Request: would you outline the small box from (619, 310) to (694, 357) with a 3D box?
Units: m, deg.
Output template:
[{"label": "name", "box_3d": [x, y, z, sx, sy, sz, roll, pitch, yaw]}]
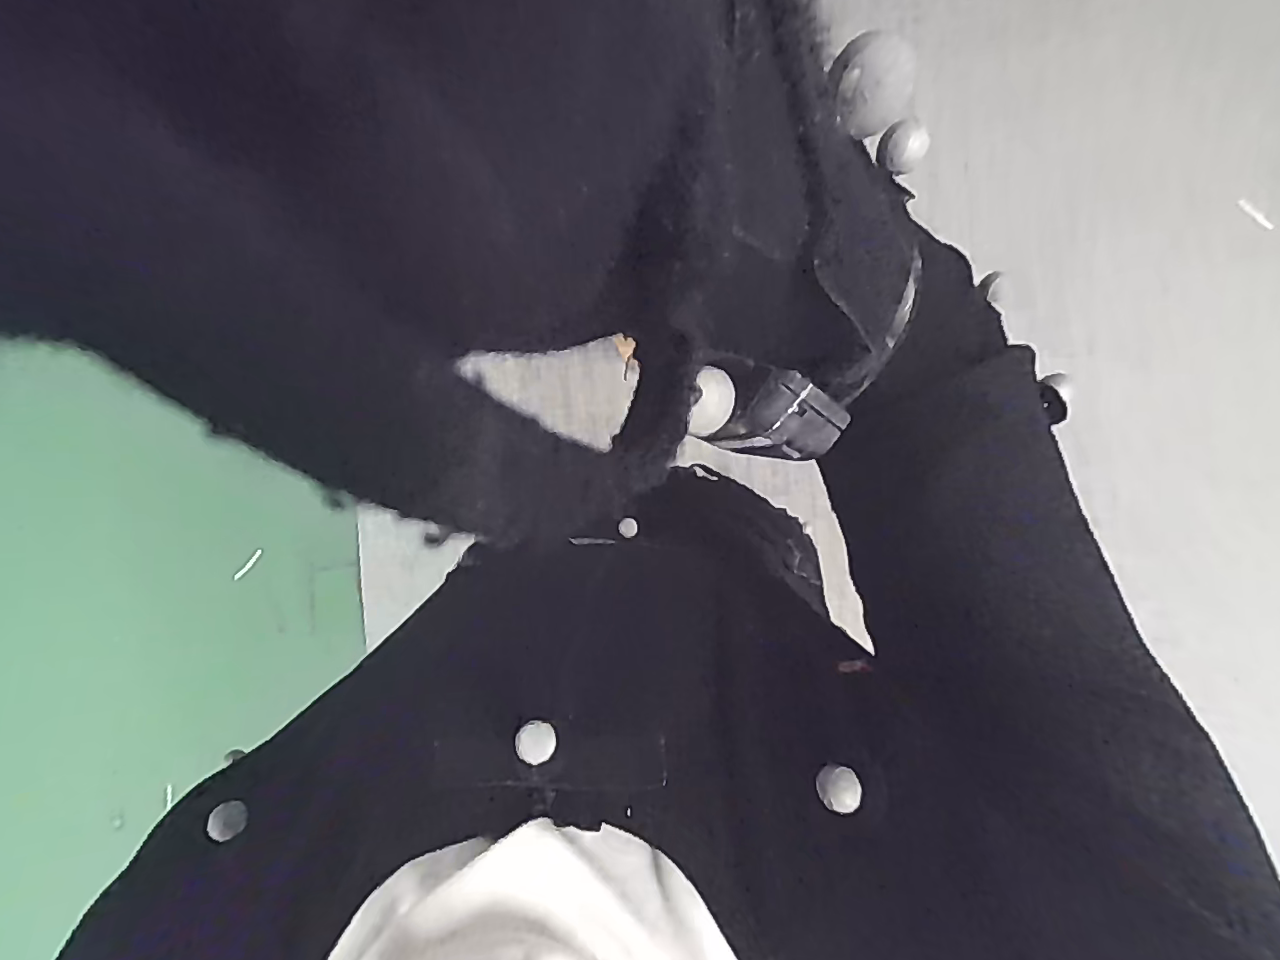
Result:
[{"label": "small box", "box_3d": [0.045, -0.406, 1.346, 0.179, 0.176, 0.168, 0, 90, 6]}]
